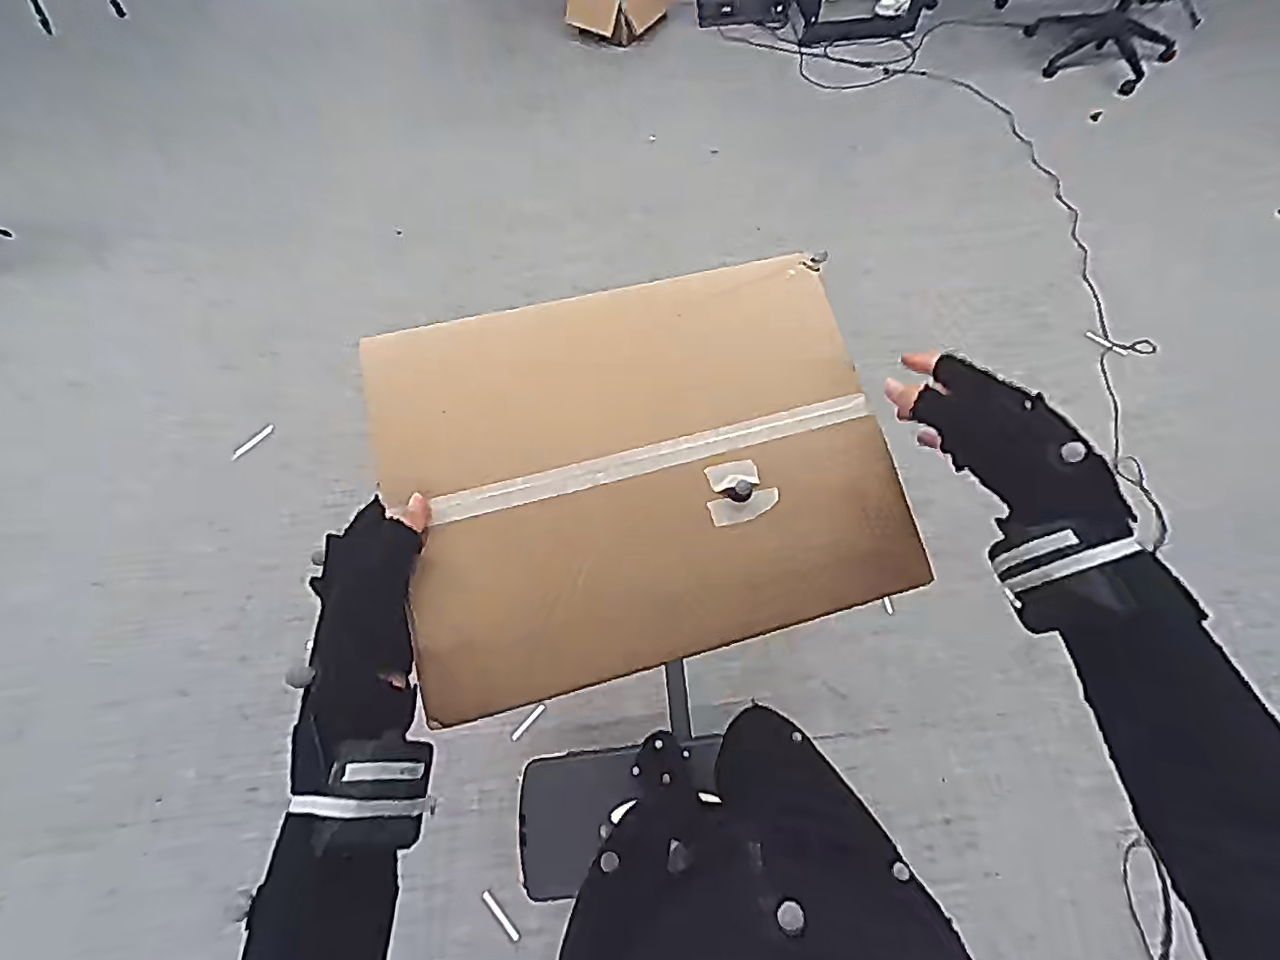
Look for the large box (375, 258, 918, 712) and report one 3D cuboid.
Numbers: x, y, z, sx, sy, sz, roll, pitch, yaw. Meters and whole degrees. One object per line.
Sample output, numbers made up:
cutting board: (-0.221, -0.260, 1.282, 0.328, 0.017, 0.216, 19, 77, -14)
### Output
large box: (-0.009, 0.016, 0.596, 0.408, 0.320, 0.320, -14, 79, -8)
